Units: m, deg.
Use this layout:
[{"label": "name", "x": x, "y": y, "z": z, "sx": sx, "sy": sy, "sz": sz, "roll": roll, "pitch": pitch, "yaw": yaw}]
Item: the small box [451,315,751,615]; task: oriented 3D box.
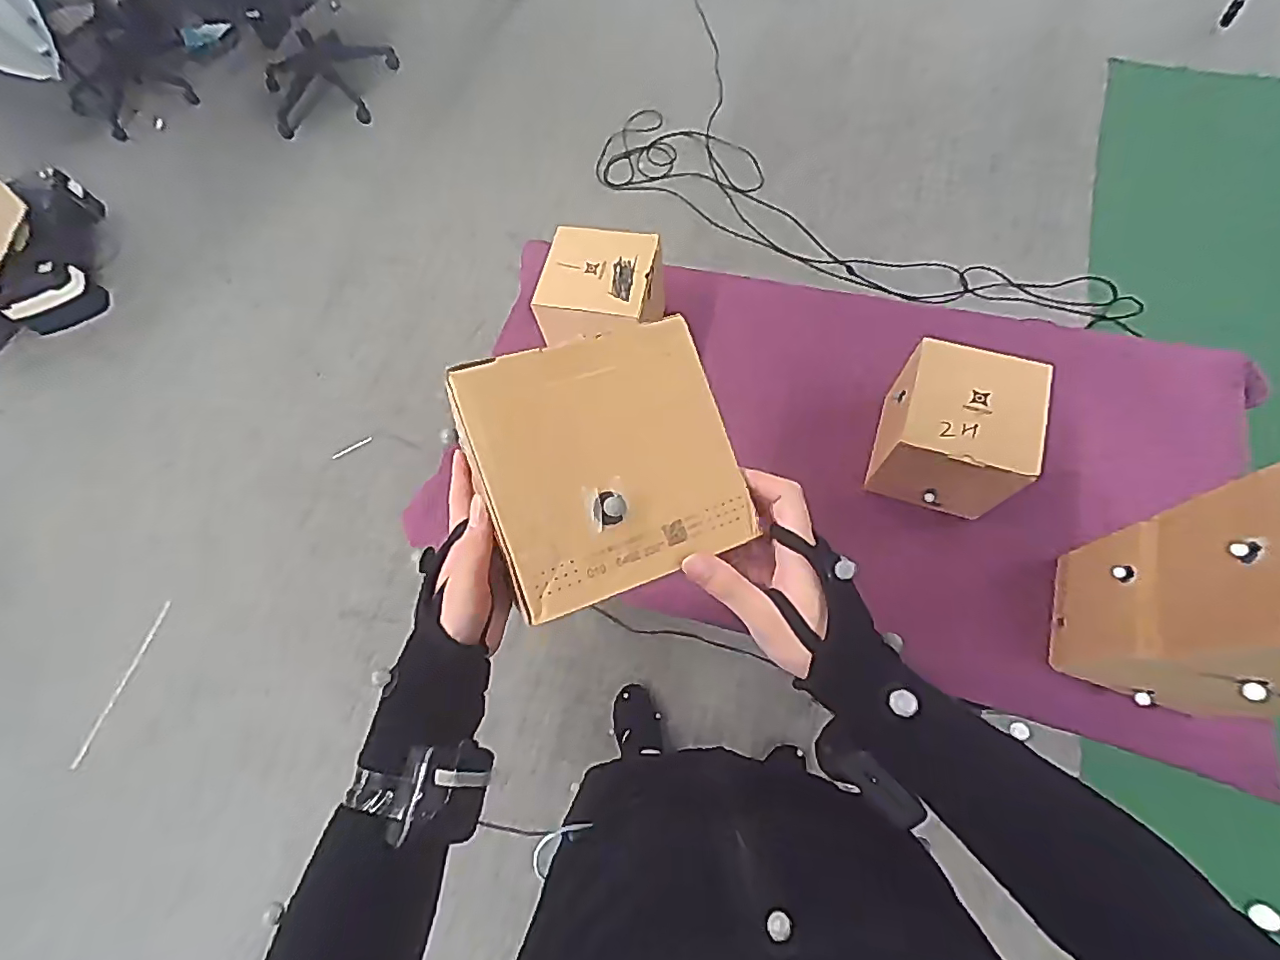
[{"label": "small box", "x": -0.039, "y": -0.004, "z": 0.431, "sx": 0.168, "sy": 0.179, "sz": 0.176, "roll": -18, "pitch": 89, "yaw": -18}]

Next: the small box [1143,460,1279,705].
[{"label": "small box", "x": 0.634, "y": 0.108, "z": 0.517, "sx": 0.168, "sy": 0.176, "sz": 0.179, "roll": 17, "pitch": 70, "yaw": 14}]

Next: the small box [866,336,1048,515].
[{"label": "small box", "x": 0.447, "y": -0.072, "z": 0.785, "sx": 0.168, "sy": 0.176, "sz": 0.179, "roll": 18, "pitch": 71, "yaw": 13}]

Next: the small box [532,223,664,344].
[{"label": "small box", "x": -0.059, "y": -0.304, "z": 0.926, "sx": 0.179, "sy": 0.176, "sz": 0.168, "roll": 10, "pitch": 70, "yaw": 10}]

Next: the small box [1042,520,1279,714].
[{"label": "small box", "x": 0.646, "y": 0.172, "z": 0.666, "sx": 0.179, "sy": 0.176, "sz": 0.168, "roll": 18, "pitch": 70, "yaw": 12}]
